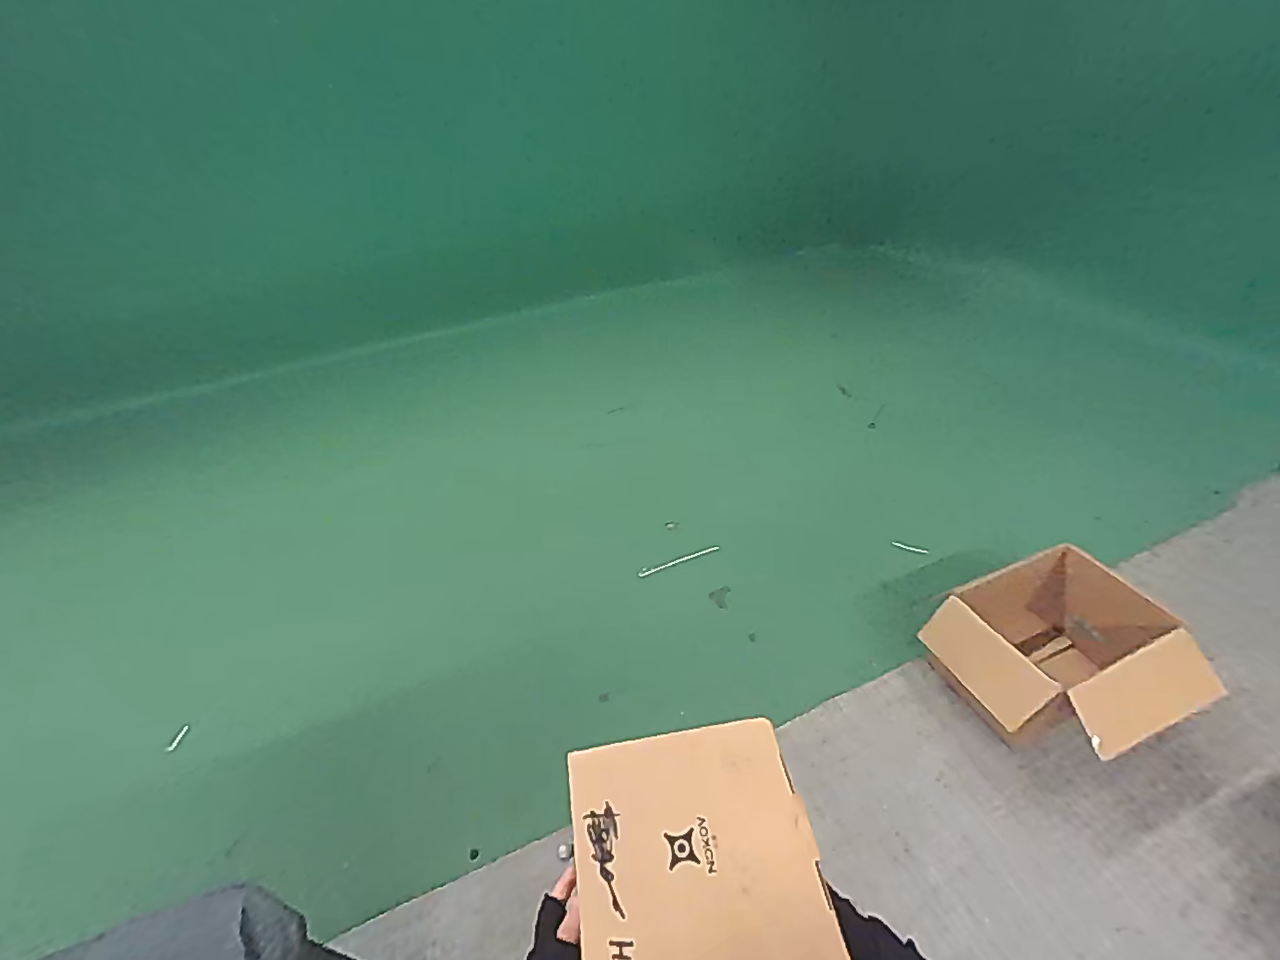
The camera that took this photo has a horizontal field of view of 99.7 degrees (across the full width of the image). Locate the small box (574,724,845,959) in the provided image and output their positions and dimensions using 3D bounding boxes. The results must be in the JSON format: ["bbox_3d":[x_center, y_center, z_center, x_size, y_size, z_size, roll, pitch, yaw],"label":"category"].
[{"bbox_3d":[0.039,0.331,0.458,0.179,0.176,0.168,-5,44,-6],"label":"small box"}]
